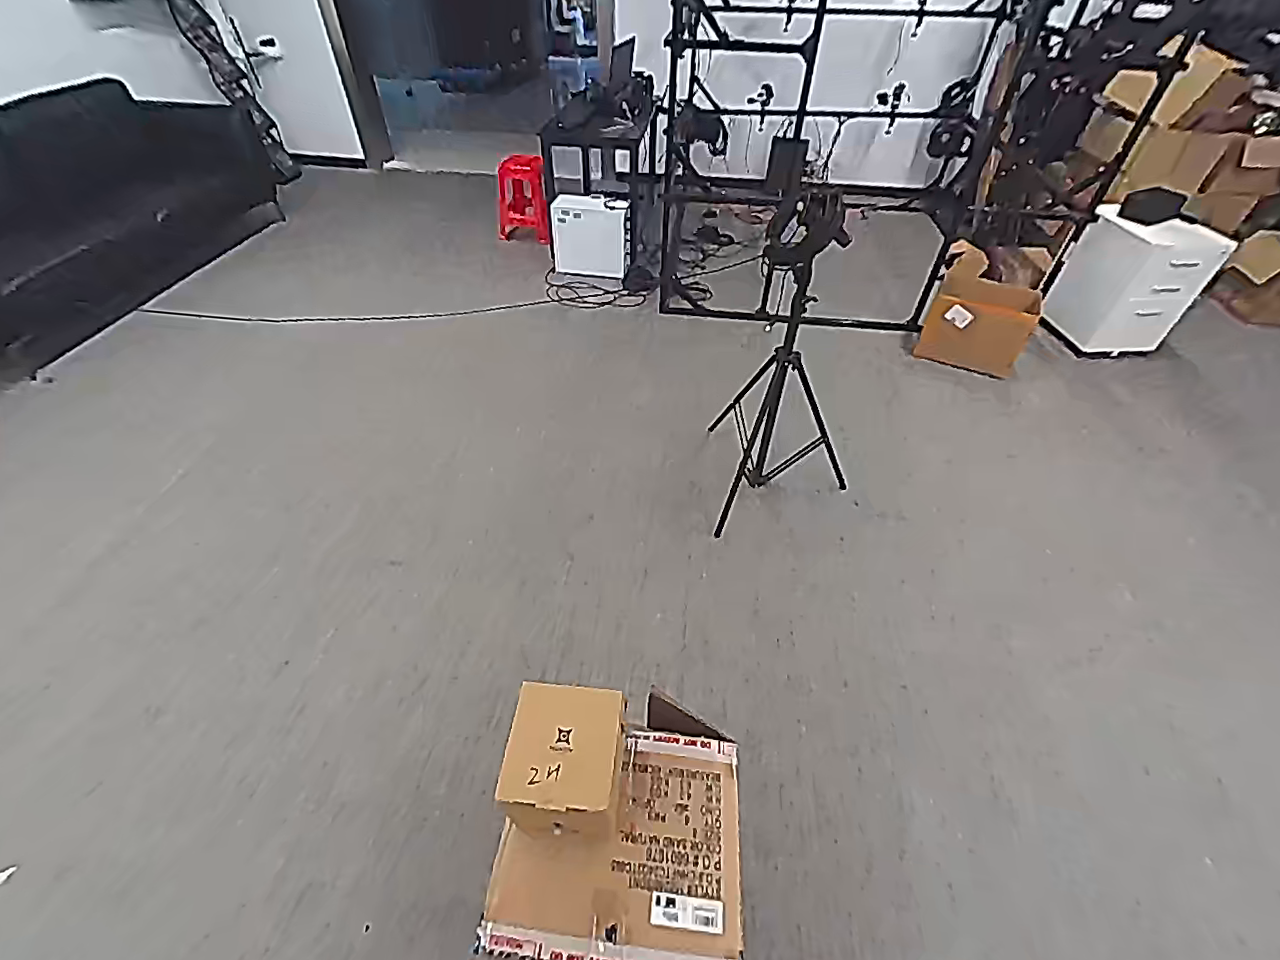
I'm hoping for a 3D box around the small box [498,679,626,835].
[{"bbox_3d":[-0.114,0.448,0.875,0.168,0.176,0.179,3,47,5],"label":"small box"}]
